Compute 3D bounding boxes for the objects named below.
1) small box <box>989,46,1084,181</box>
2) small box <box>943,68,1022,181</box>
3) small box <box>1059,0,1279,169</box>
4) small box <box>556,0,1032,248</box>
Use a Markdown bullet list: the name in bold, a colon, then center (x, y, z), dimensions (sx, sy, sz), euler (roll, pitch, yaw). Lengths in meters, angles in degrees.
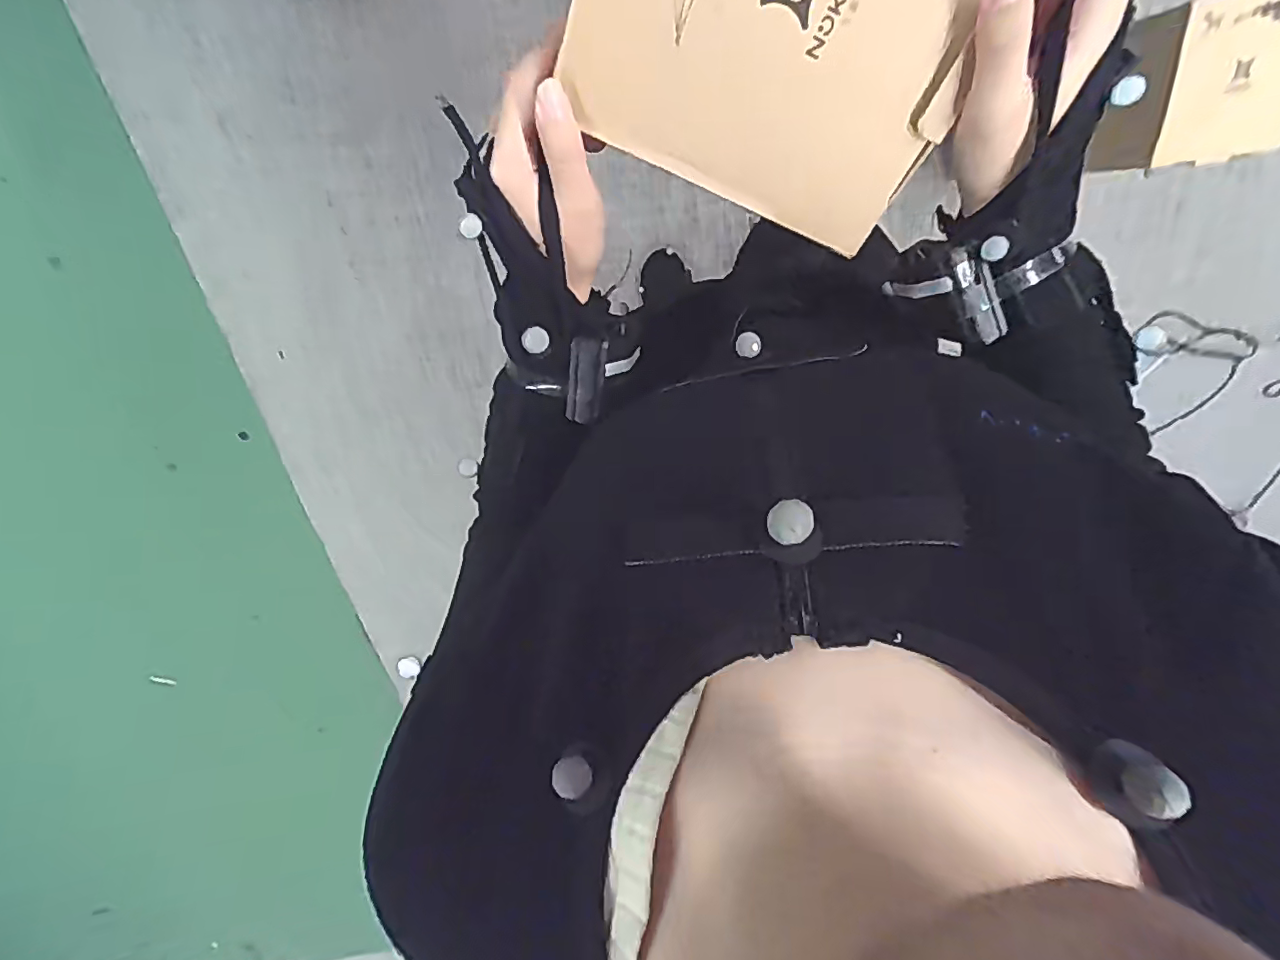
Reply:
- **small box**: center (0.714, -0.600, 0.888), dimensions (0.179, 0.176, 0.168), euler (-9, 116, 1)
- **small box**: center (0.721, -0.677, 1.034), dimensions (0.179, 0.176, 0.168), euler (-7, 115, 1)
- **small box**: center (0.722, -0.534, 0.739), dimensions (0.168, 0.176, 0.179), euler (-7, 117, 1)
- **small box**: center (0.071, -0.256, 0.278), dimensions (0.179, 0.176, 0.168), euler (17, 129, -15)
